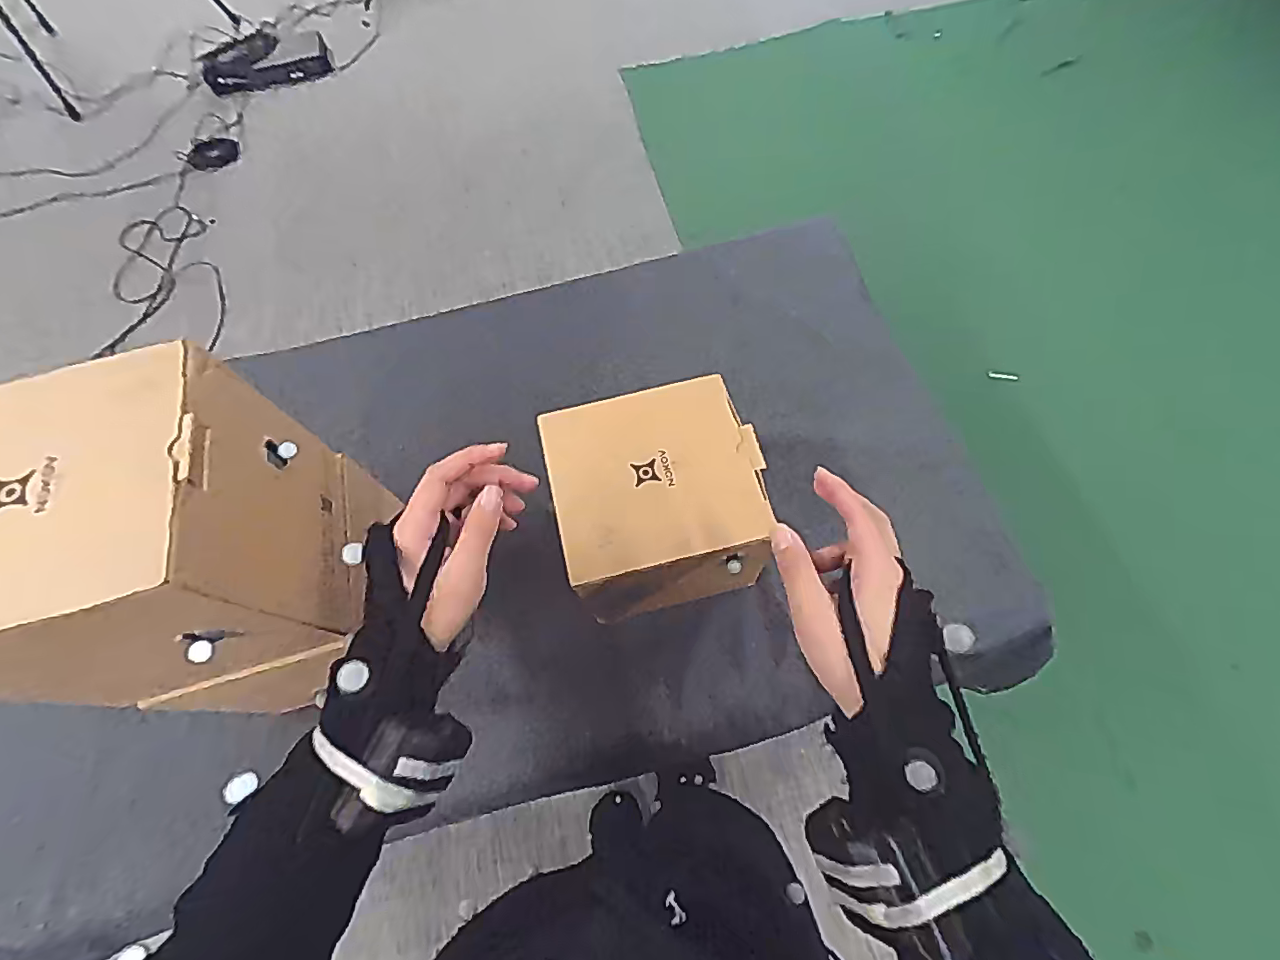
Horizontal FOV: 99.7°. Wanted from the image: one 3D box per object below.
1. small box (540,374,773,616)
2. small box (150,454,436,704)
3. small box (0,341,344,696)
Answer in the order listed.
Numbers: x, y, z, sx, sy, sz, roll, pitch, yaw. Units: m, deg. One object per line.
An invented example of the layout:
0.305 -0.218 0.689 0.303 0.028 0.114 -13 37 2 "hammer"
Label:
0.013 0.025 0.543 0.179 0.176 0.168 -14 65 -4 "small box"
-0.315 0.104 0.523 0.168 0.176 0.179 -16 66 -4 "small box"
-0.329 0.039 0.375 0.179 0.176 0.168 -17 64 -3 "small box"
